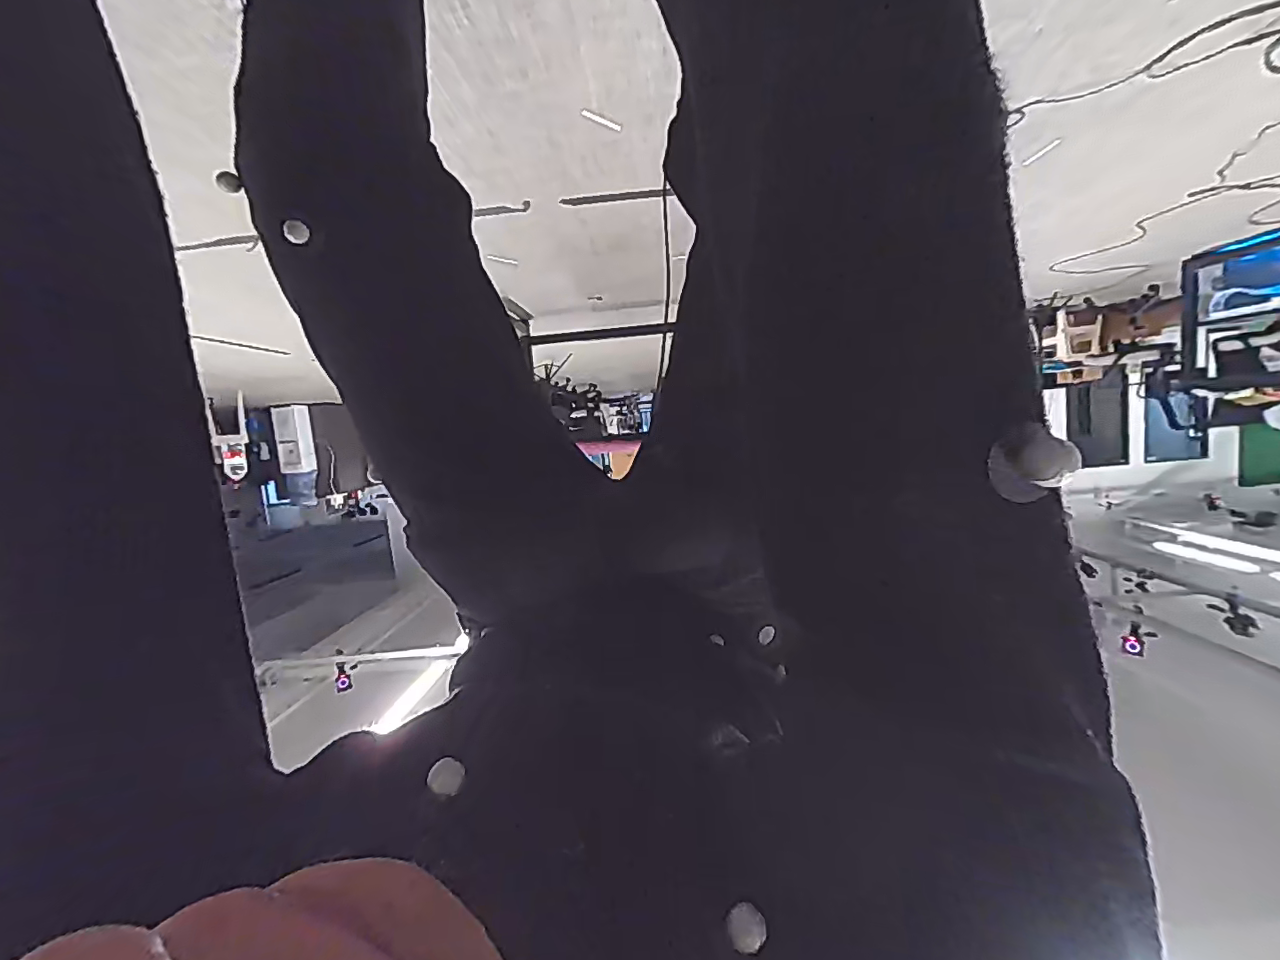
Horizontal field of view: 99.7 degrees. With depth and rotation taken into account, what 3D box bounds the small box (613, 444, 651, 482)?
[{"bbox_3d":[-0.039,-0.087,2.675,0.179,0.176,0.168,-4,-172,5],"label":"small box"}]
